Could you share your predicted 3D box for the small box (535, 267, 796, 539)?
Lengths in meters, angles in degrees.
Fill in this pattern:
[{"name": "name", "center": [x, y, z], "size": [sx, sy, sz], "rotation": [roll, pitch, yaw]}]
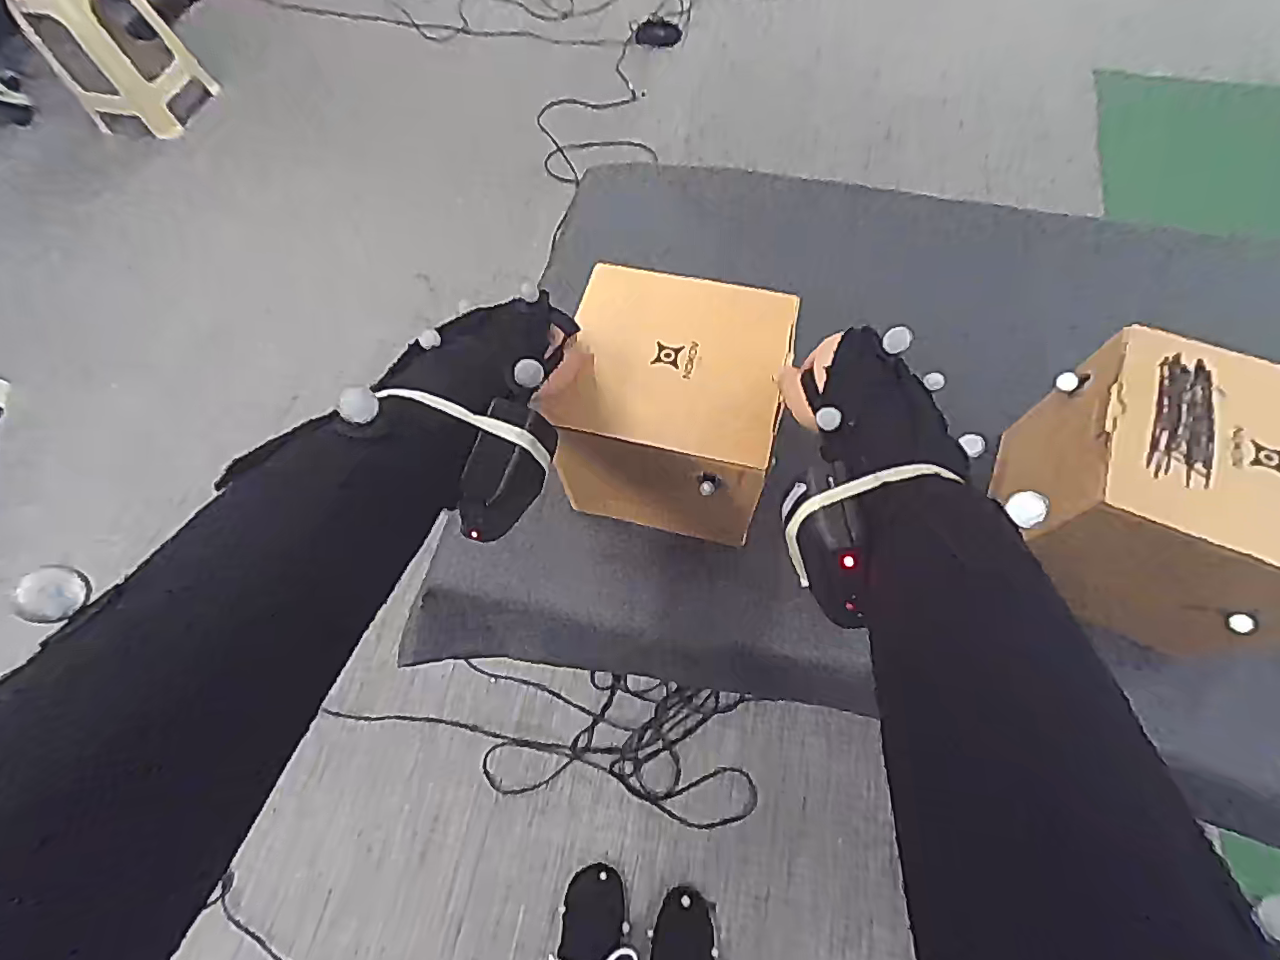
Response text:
[{"name": "small box", "center": [0.028, -0.061, 0.492], "size": [0.179, 0.176, 0.168], "rotation": [12, 66, 8]}]
